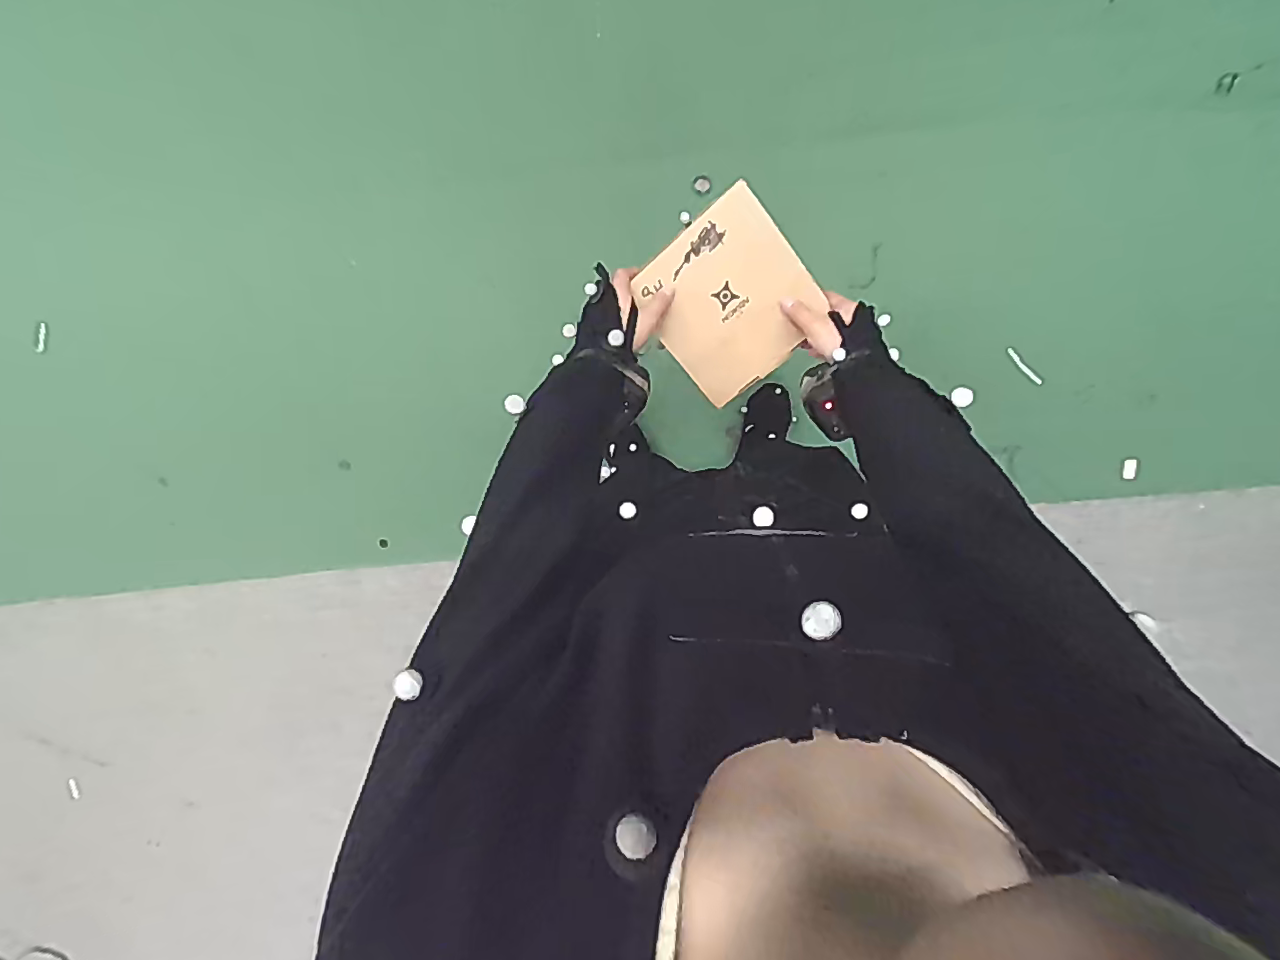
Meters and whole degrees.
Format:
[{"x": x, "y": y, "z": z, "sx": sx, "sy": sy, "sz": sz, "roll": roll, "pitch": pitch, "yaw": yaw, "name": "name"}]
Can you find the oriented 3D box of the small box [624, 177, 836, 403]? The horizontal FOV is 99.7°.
[{"x": 0.099, "y": -0.226, "z": 0.653, "sx": 0.168, "sy": 0.176, "sz": 0.179, "roll": -38, "pitch": 107, "yaw": 14, "name": "small box"}]
